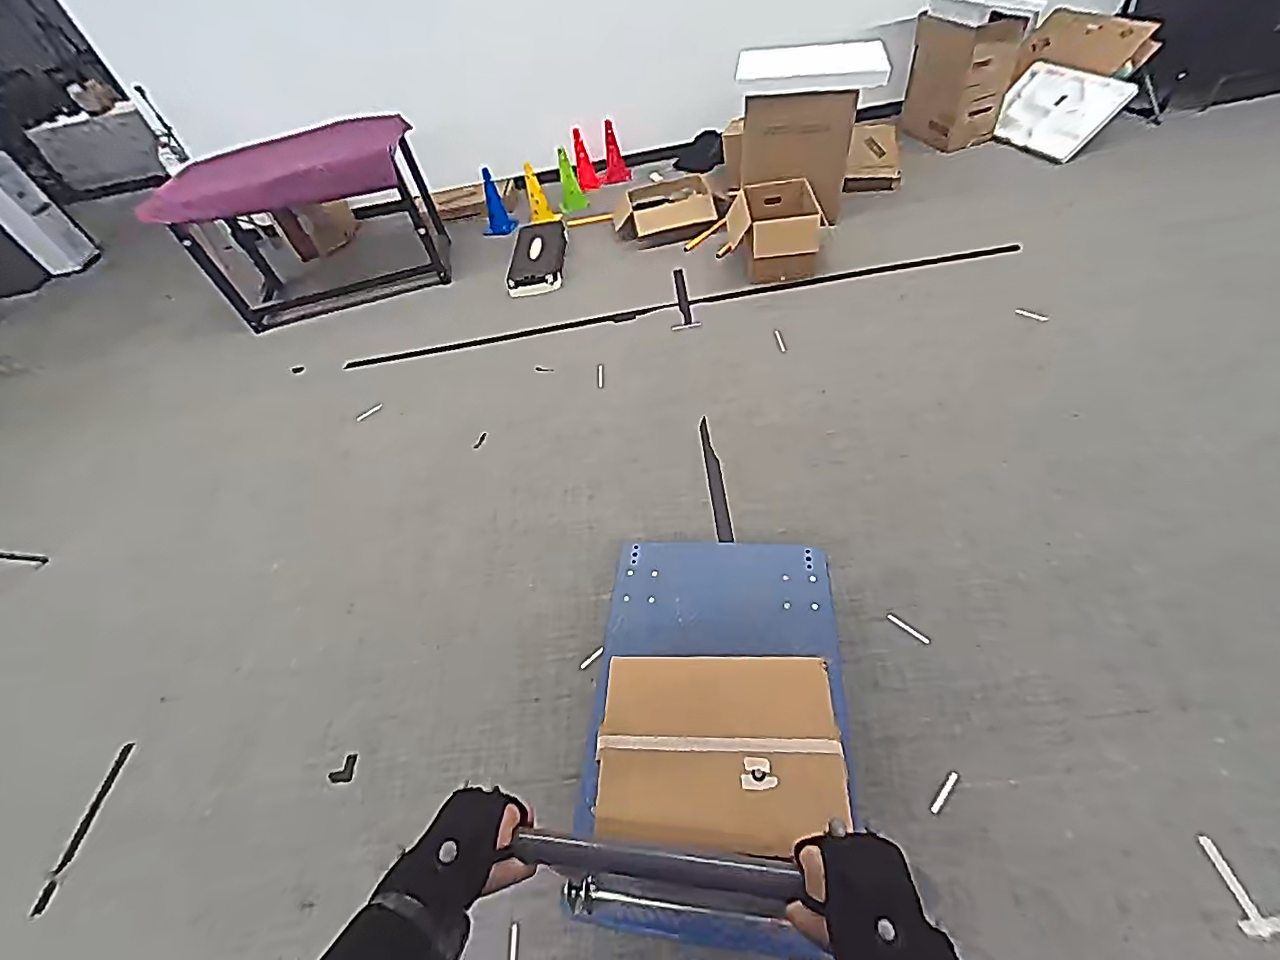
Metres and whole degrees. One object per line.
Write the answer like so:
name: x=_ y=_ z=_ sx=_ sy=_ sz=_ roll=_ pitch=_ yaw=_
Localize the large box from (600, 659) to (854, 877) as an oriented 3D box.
large box: x=0.155 y=0.559 z=1.048 sx=0.408 sy=0.320 sz=0.320 roll=-2 pitch=49 yaw=8
